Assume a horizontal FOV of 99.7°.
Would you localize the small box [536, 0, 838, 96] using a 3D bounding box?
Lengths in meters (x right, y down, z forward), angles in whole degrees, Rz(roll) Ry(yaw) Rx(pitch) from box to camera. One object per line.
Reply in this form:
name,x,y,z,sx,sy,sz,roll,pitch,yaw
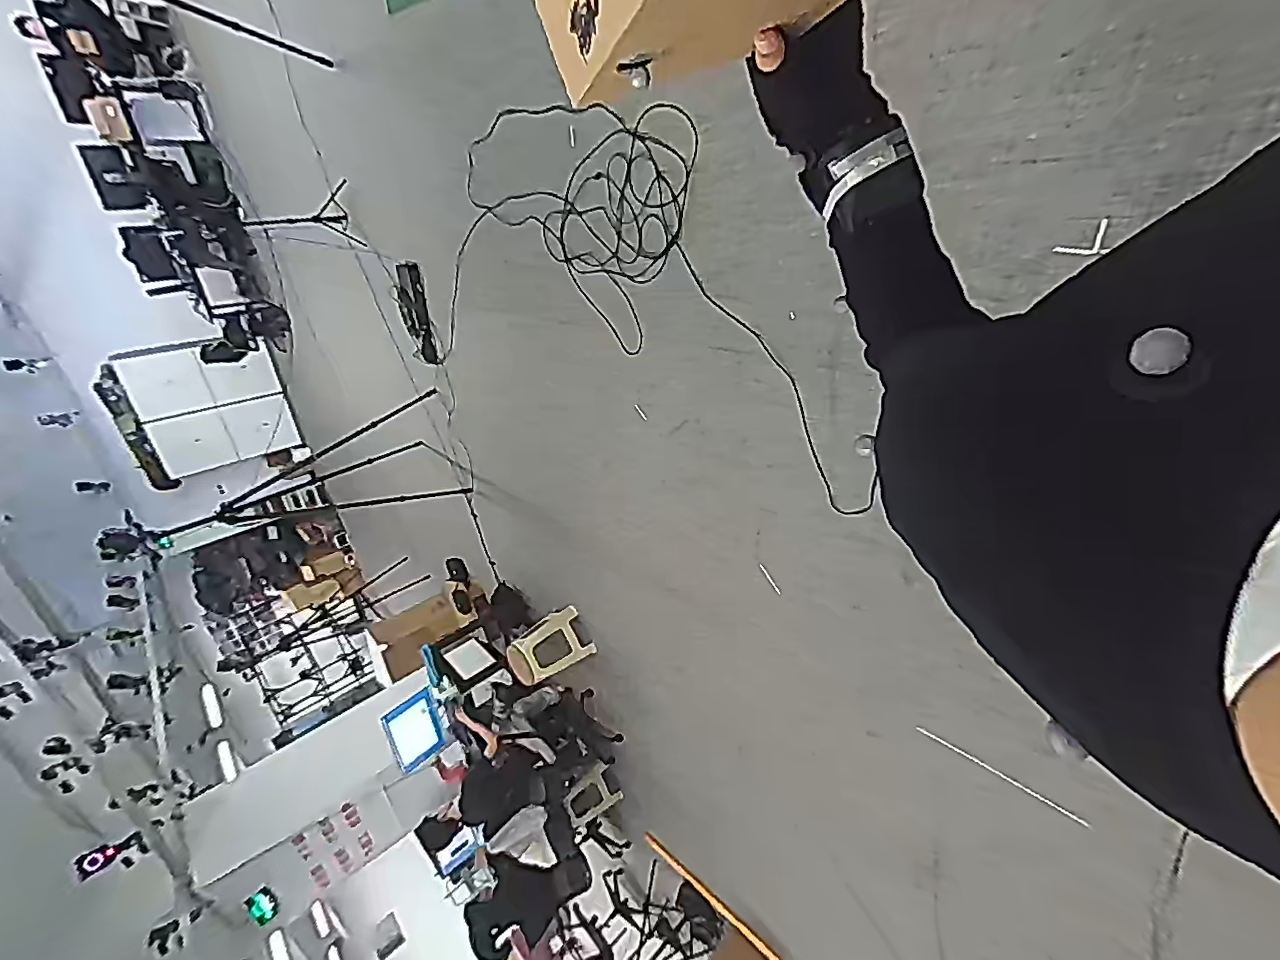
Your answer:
small box,0.031,-0.330,0.261,0.168,0.176,0.179,40,152,64
